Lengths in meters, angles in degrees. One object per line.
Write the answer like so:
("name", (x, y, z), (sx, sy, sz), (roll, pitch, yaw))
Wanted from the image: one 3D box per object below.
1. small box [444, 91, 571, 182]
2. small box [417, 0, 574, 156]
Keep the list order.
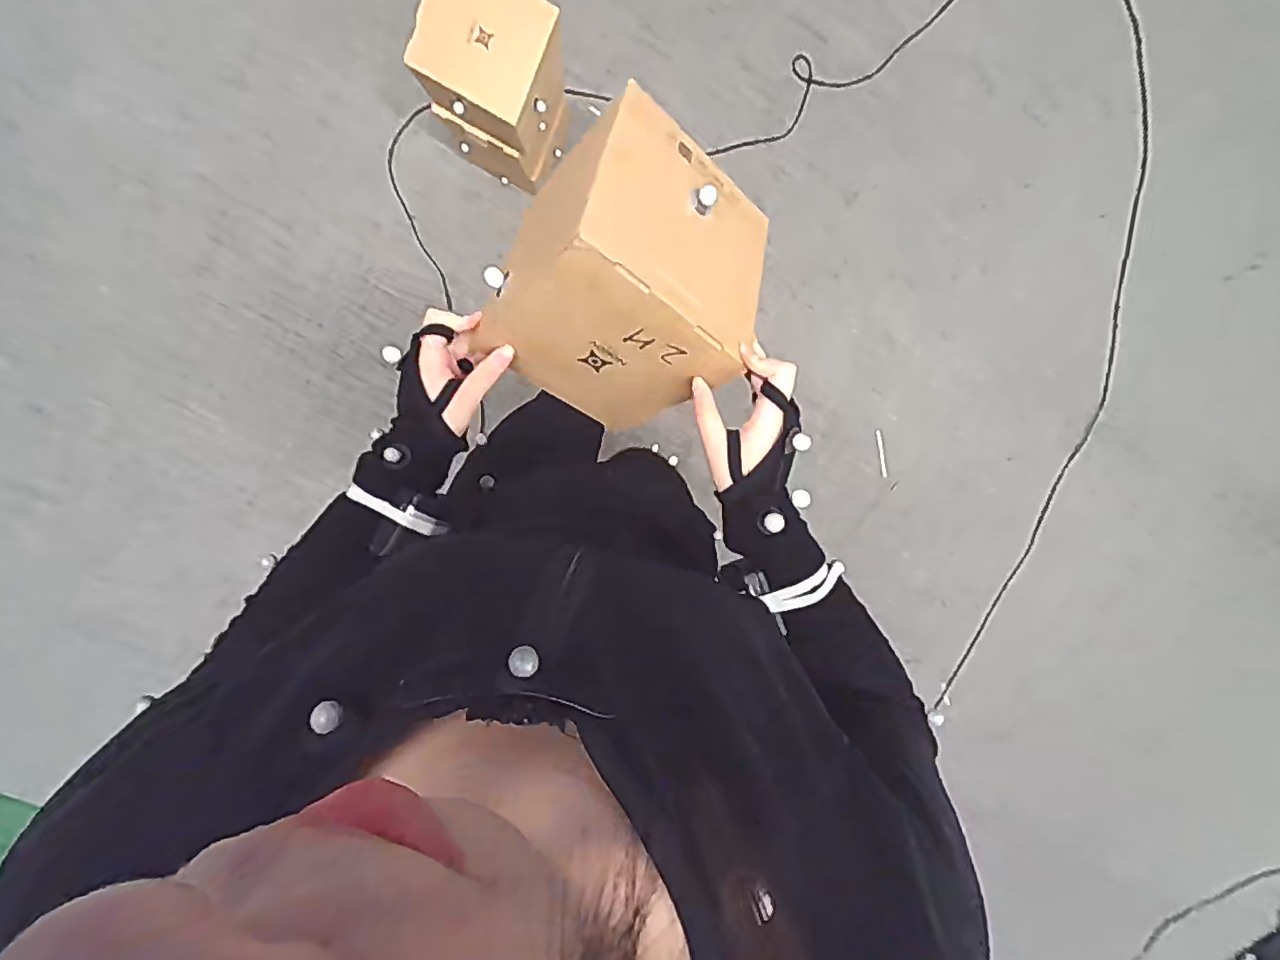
("small box", (-0.239, -0.699, 1.020), (0.168, 0.176, 0.179), (25, 103, -10))
("small box", (-0.218, -0.652, 0.864), (0.179, 0.176, 0.168), (26, 104, -8))
